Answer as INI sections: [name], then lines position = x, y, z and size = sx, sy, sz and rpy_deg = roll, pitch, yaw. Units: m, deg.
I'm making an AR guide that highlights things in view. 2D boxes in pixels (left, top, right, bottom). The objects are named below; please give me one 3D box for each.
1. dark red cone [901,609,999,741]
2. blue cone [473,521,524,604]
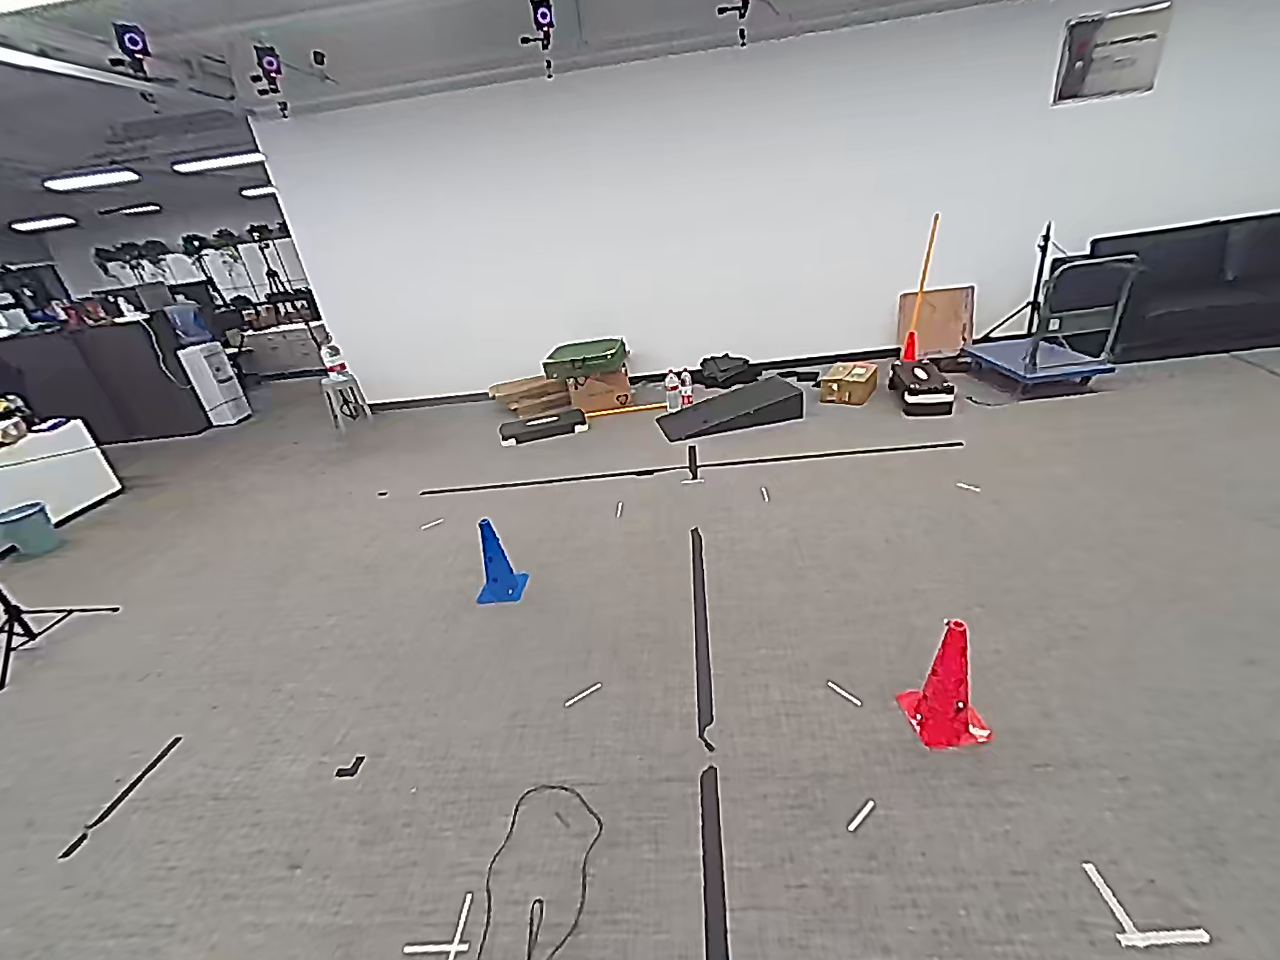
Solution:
[dark red cone]
position = 0.876, 0.522, 1.509
size = 0.201, 0.394, 0.202
rpy_deg = -9, 26, 0
[blue cone]
position = -0.652, 0.345, 2.366
size = 0.192, 0.380, 0.193
rpy_deg = -6, 26, 7
